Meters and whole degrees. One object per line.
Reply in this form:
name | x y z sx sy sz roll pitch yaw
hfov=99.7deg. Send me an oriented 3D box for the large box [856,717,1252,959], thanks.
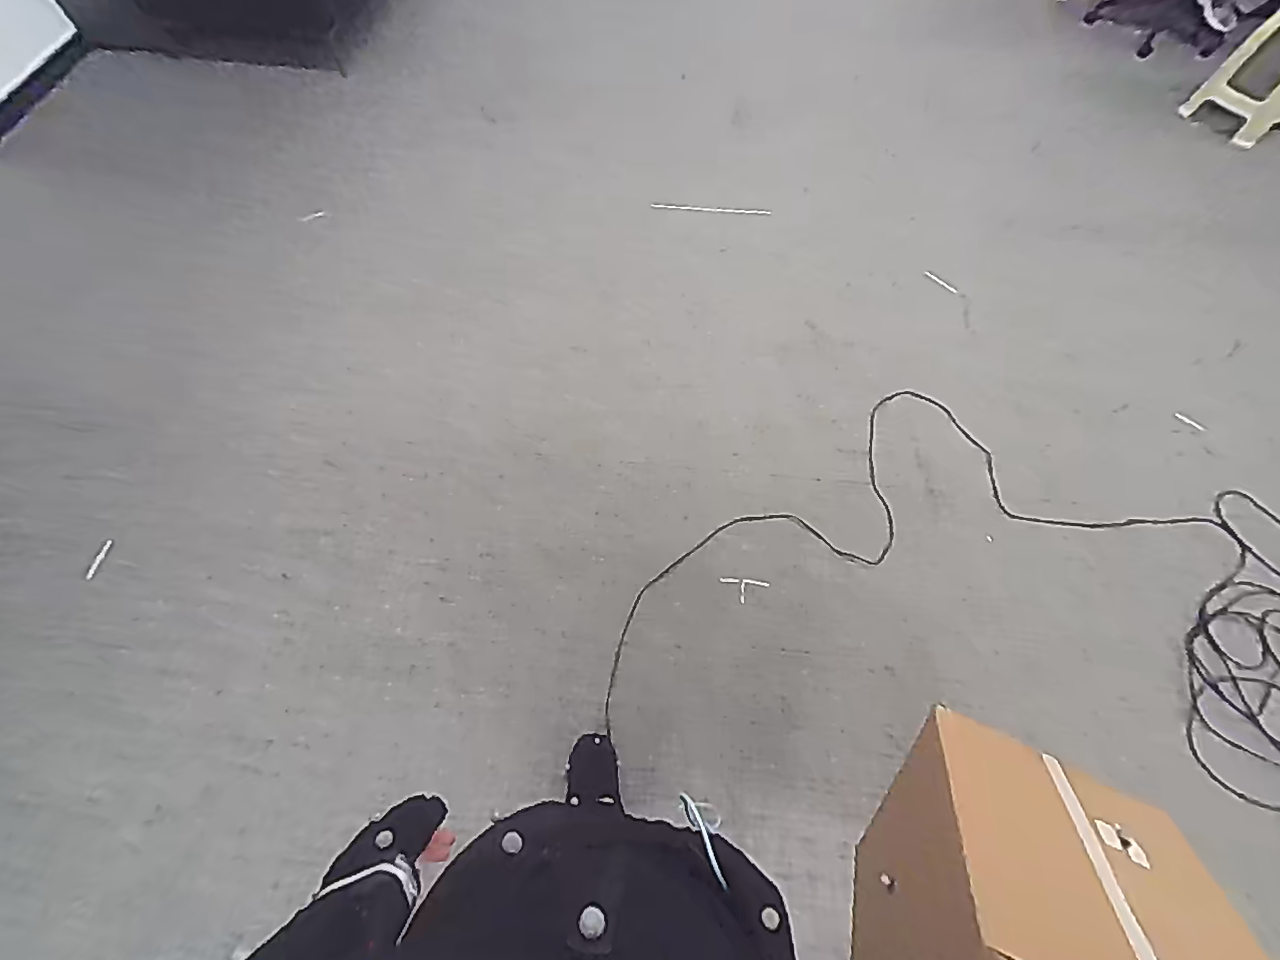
large box | 0.470 0.590 0.654 0.320 0.408 0.320 24 107 17
